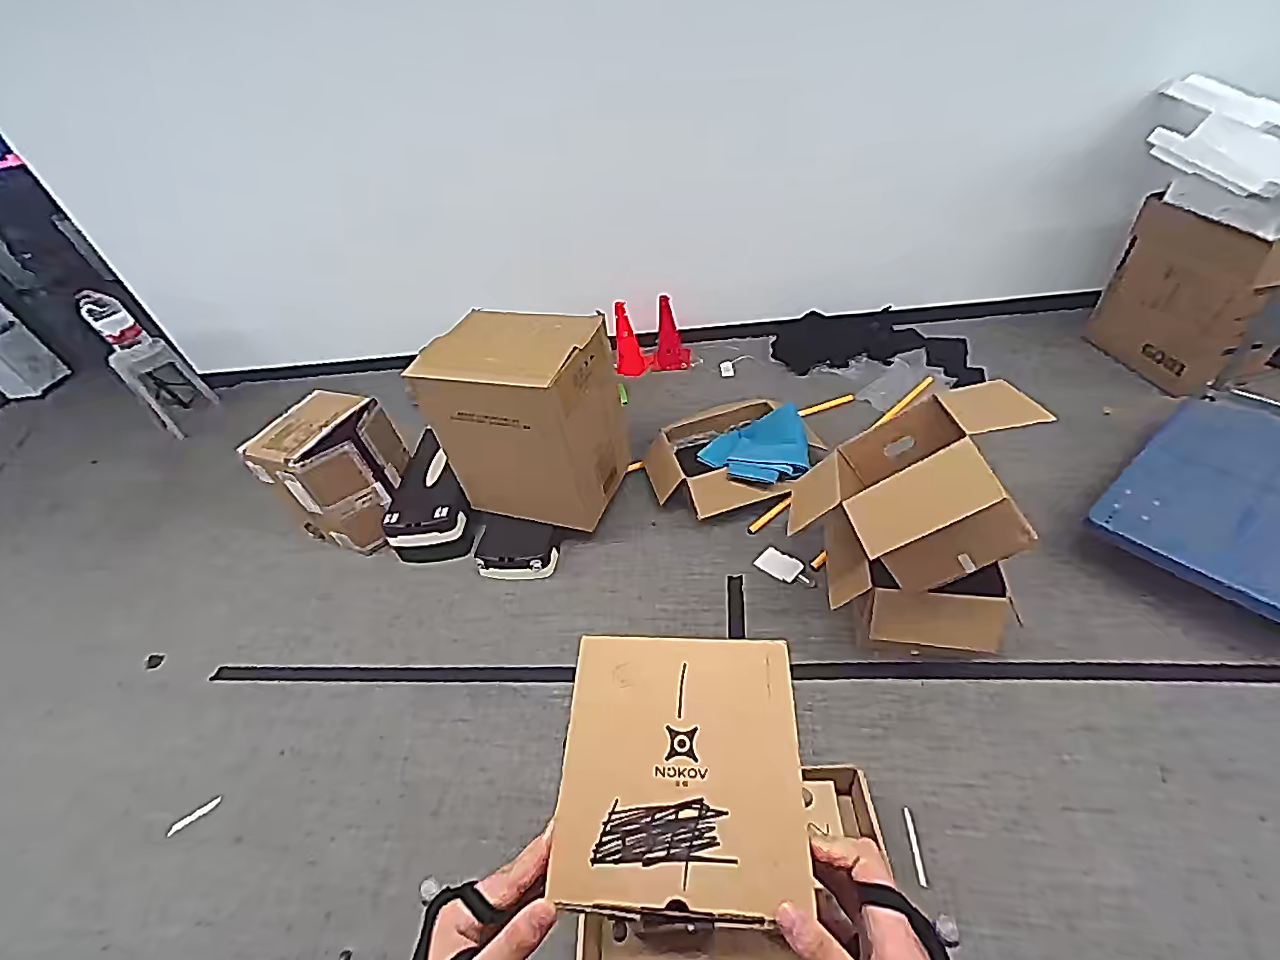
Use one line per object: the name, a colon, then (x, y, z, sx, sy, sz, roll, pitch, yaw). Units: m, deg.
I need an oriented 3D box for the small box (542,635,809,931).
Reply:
small box: (0.034, 0.244, 0.435, 0.168, 0.176, 0.179, 0, 49, 6)

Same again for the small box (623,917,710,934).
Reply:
small box: (0.061, 0.836, 1.138, 0.179, 0.176, 0.168, -6, 42, 4)

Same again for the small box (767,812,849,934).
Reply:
small box: (0.318, 0.810, 1.115, 0.168, 0.176, 0.179, -7, 43, 6)
